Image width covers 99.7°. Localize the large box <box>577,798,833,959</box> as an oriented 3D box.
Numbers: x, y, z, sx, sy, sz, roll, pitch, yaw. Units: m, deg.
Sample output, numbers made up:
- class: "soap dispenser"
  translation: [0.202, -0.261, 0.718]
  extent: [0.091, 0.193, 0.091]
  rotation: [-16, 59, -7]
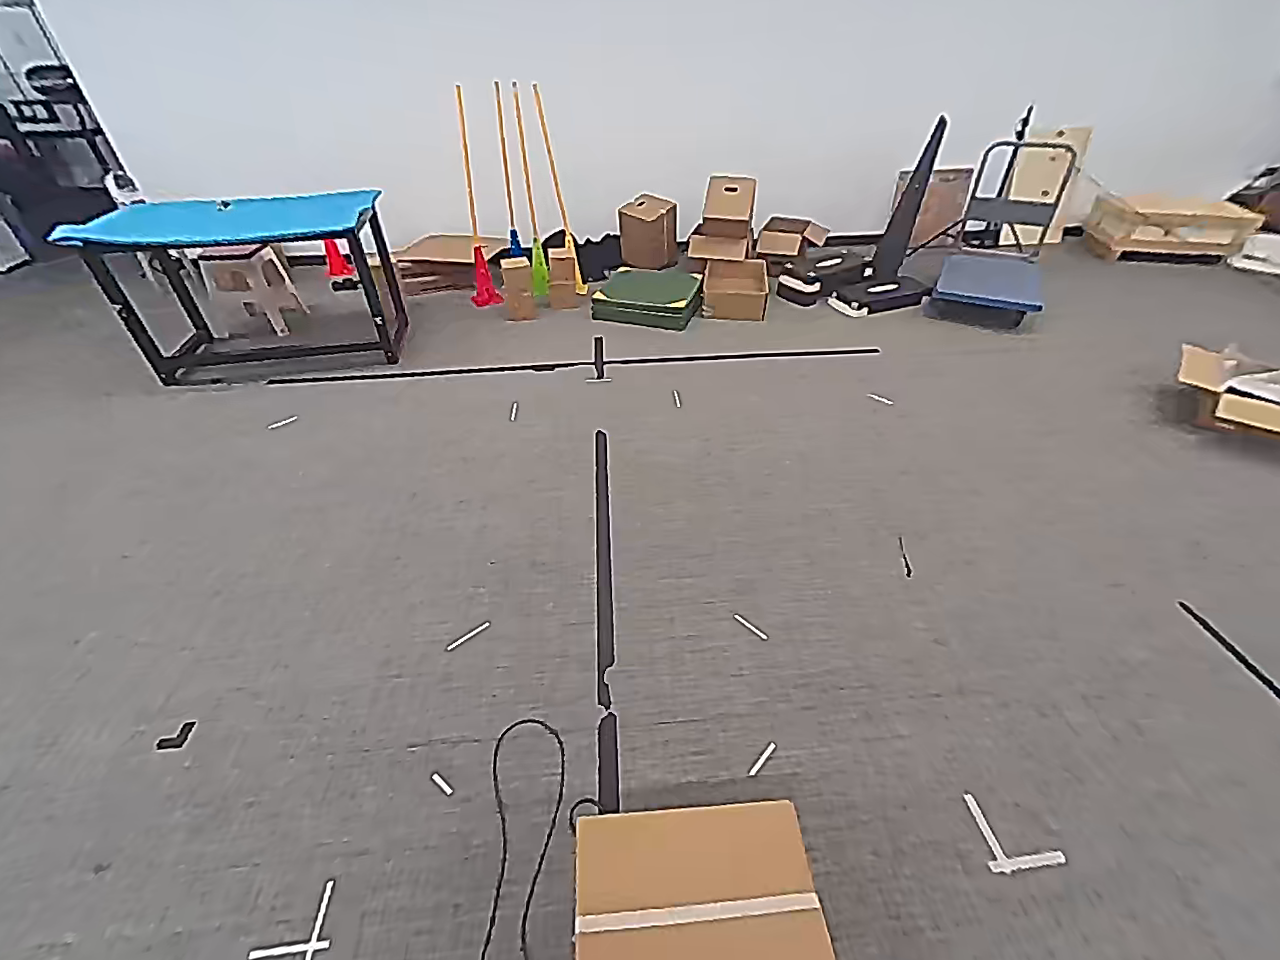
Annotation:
- class: "large box"
  translation: [0.096, 0.821, 0.985]
  extent: [0.408, 0.320, 0.320]
  rotation: [-2, 40, -4]
